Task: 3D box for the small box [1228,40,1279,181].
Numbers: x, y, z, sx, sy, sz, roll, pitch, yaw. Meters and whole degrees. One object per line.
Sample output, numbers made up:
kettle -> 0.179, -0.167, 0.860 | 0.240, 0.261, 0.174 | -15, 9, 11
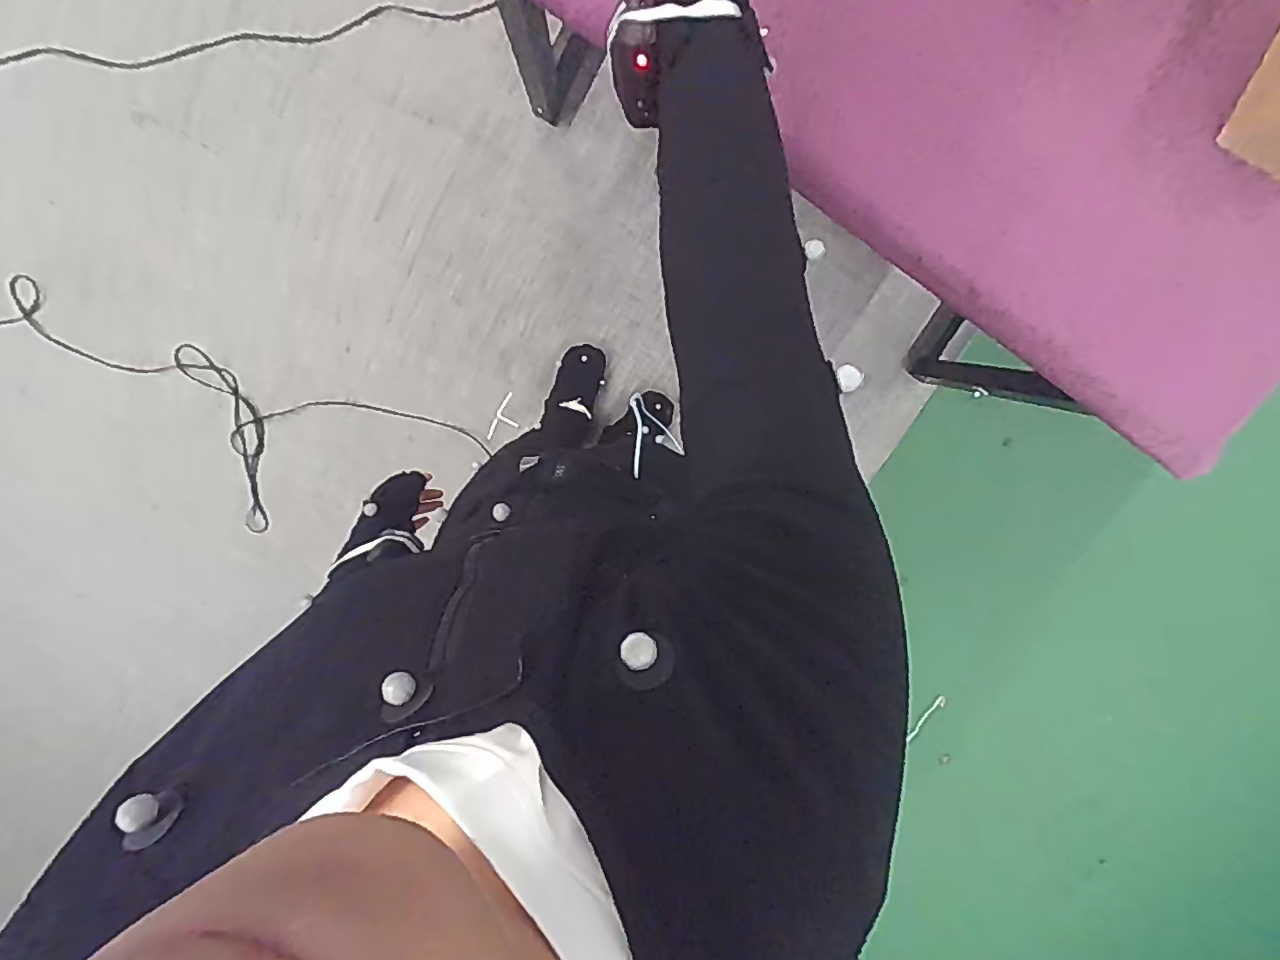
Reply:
small box -> 0.807, -0.429, 0.573 | 0.168, 0.176, 0.179 | 20, 104, -9
